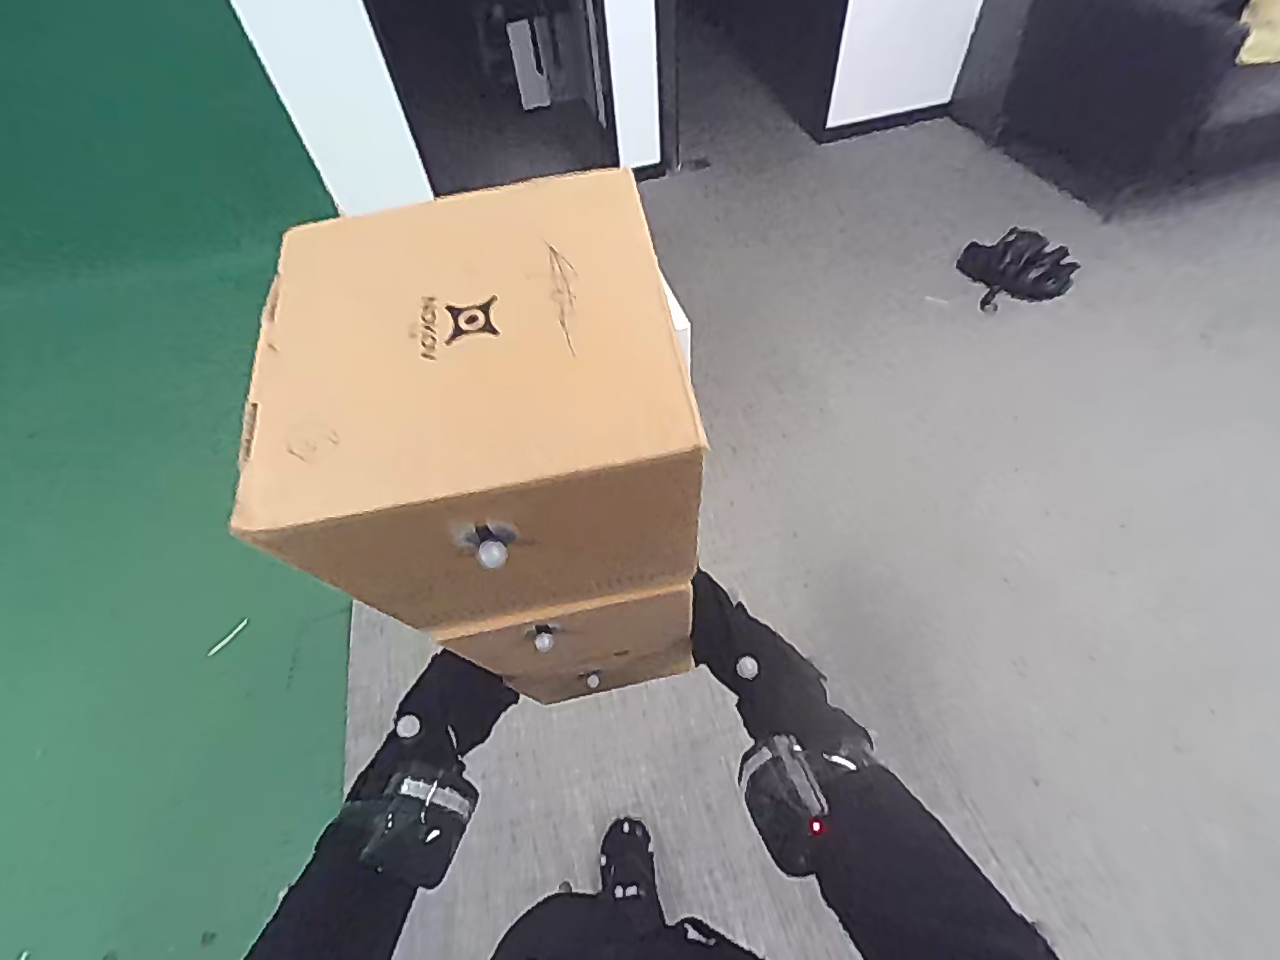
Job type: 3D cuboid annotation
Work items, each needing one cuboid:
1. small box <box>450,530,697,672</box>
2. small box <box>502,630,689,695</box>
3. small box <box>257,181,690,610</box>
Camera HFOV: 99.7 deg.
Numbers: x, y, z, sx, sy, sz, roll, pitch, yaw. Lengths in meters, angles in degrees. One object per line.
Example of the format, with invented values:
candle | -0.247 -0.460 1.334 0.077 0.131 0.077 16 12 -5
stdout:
small box | -0.055 0.046 0.460 0.168 0.176 0.179 -13 62 -3
small box | -0.047 0.128 0.599 0.179 0.176 0.168 -12 61 -2
small box | -0.071 -0.034 0.317 0.179 0.176 0.168 -11 63 -1
